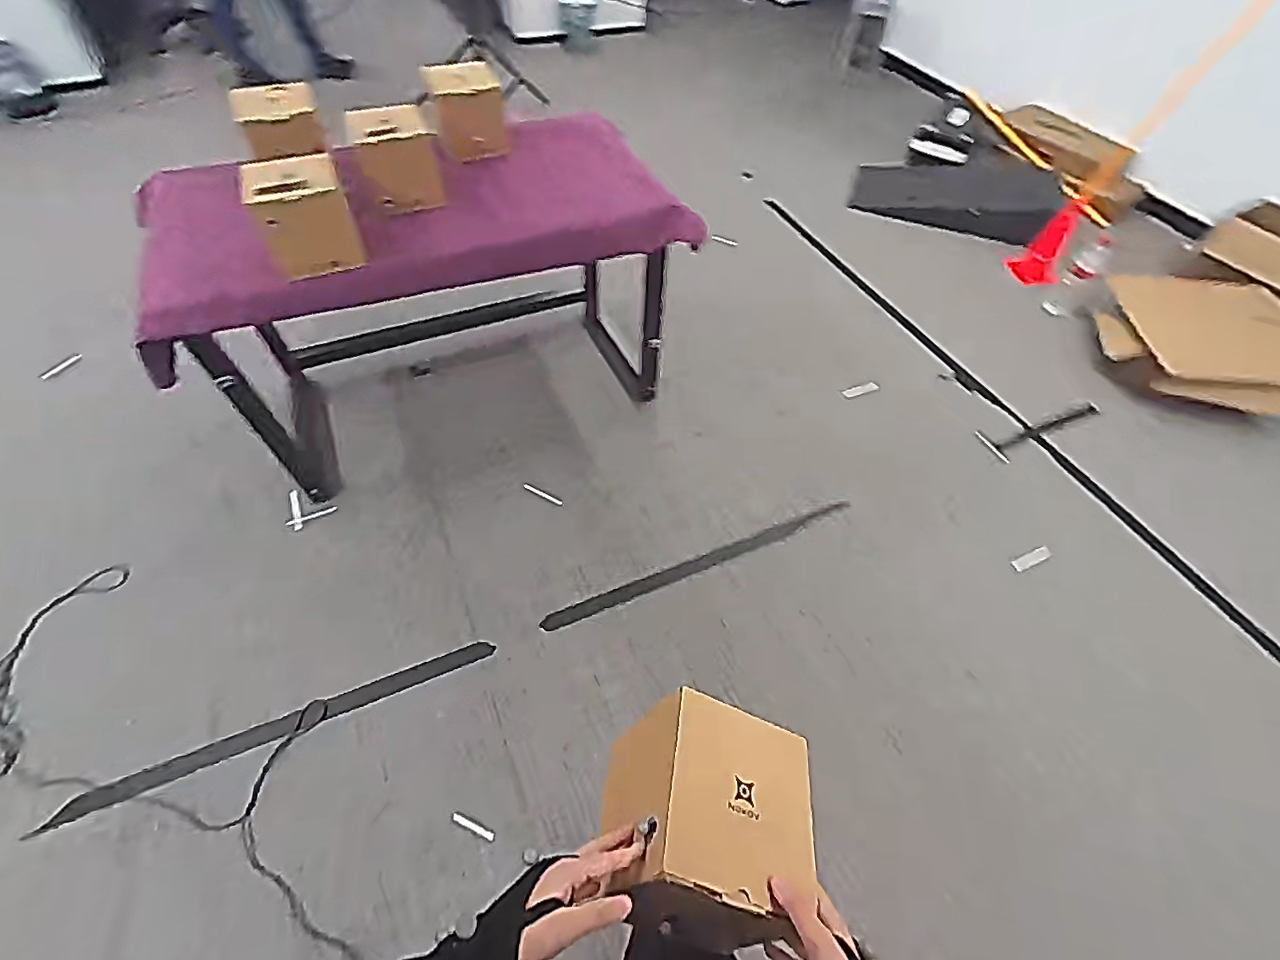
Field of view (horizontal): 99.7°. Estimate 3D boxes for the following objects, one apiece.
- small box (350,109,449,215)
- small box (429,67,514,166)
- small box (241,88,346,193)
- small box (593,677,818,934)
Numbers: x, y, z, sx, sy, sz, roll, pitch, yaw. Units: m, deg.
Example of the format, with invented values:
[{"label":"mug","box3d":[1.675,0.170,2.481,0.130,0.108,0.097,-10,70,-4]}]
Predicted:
[{"label":"small box","box3d":[-0.580,-0.767,1.317,0.168,0.176,0.179,-19,57,-15]},{"label":"small box","box3d":[-0.459,-0.995,1.482,0.168,0.176,0.179,-20,59,-15]},{"label":"small box","box3d":[-0.861,-0.842,1.355,0.168,0.176,0.179,-19,60,-16]},{"label":"small box","box3d":[0.065,0.354,0.586,0.168,0.176,0.179,26,39,-11]}]
